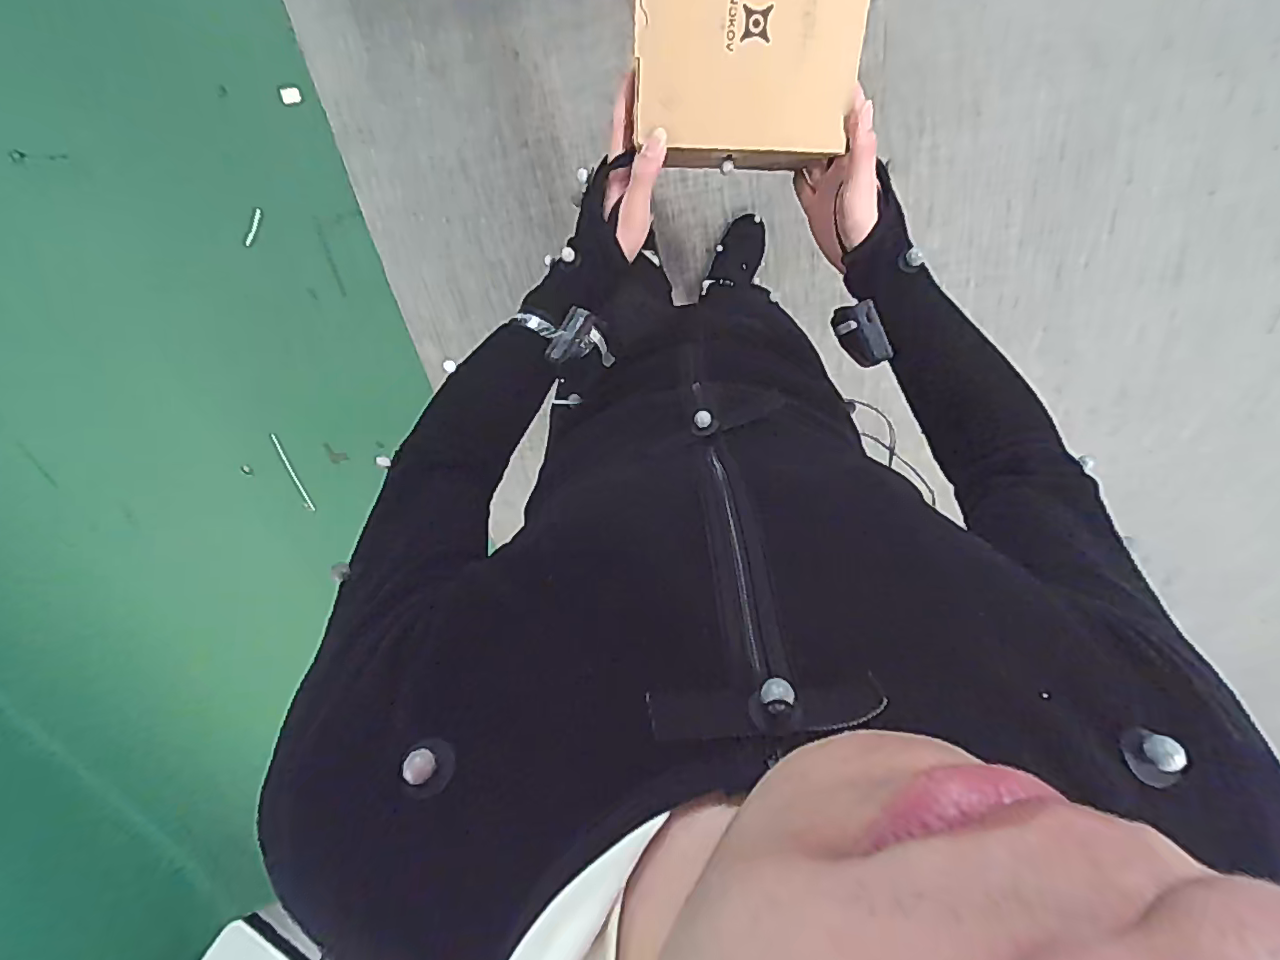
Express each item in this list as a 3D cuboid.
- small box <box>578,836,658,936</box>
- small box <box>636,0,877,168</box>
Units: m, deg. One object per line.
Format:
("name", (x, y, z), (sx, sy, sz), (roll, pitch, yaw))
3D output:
("small box", (-0.053, 1.109, 1.486), (0.179, 0.176, 0.168), (-7, 119, 11))
("small box", (0.091, -0.378, 0.477), (0.179, 0.176, 0.168), (3, 116, 1))
